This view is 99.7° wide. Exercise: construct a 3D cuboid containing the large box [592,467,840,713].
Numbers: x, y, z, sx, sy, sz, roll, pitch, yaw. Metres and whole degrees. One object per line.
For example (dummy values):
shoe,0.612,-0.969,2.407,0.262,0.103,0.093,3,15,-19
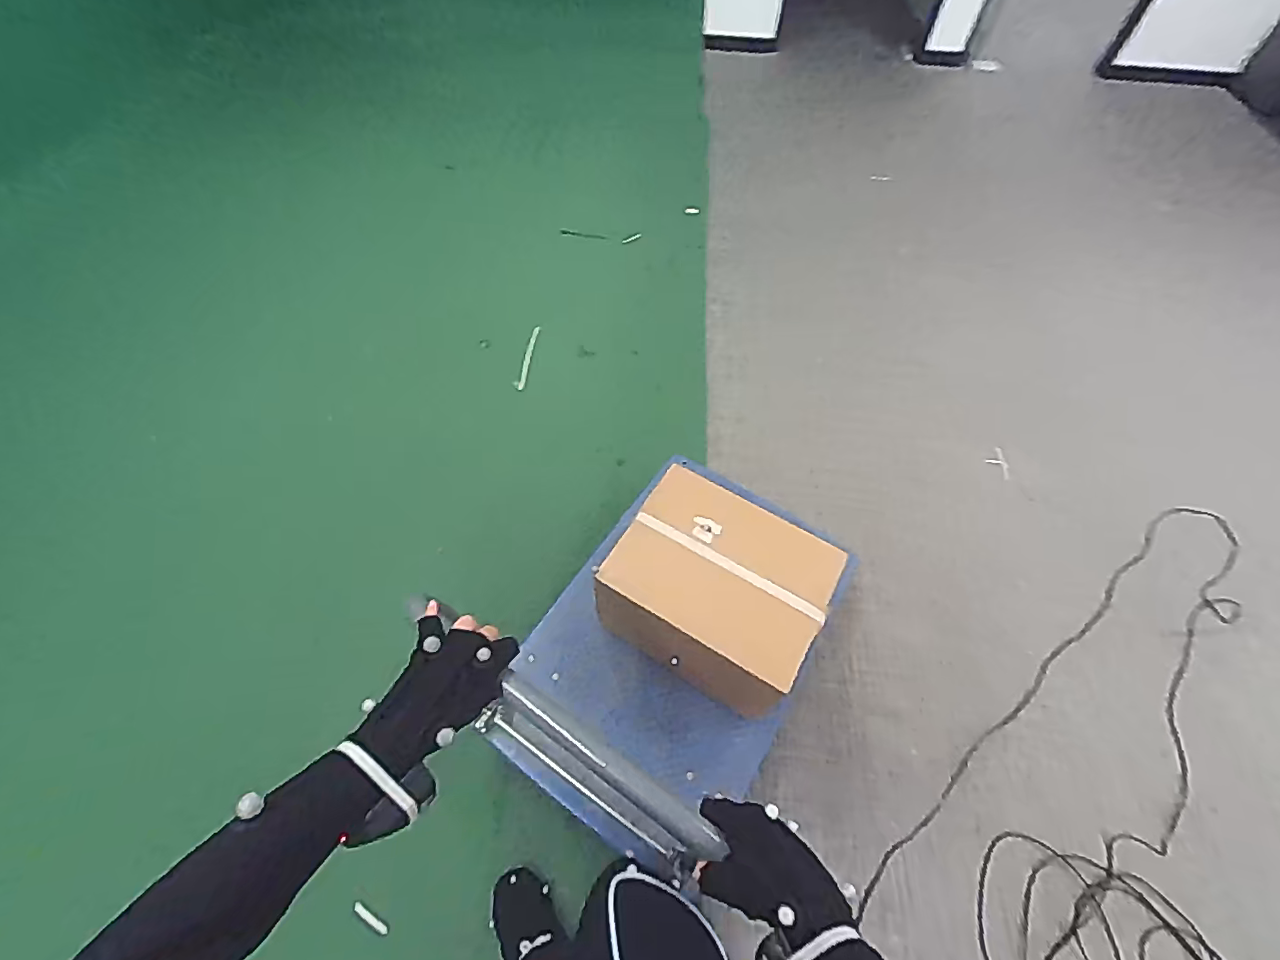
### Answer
large box,0.151,0.246,1.181,0.408,0.320,0.320,28,60,15
